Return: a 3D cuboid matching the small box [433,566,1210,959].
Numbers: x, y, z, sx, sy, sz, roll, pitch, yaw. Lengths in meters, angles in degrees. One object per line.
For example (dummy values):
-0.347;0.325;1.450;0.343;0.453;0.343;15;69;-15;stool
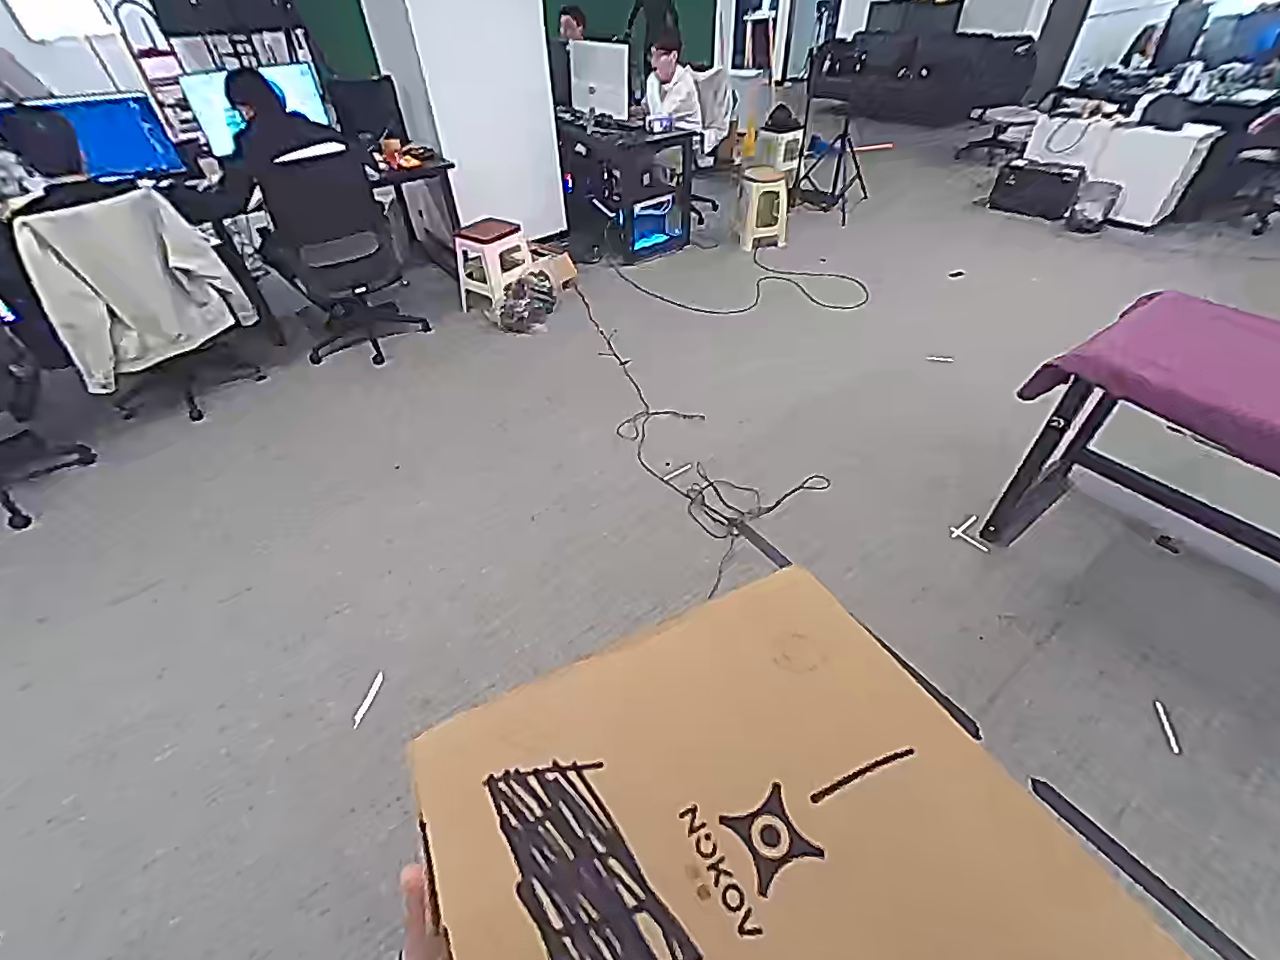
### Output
0.040;0.172;0.214;0.179;0.176;0.168;-19;42;-19;small box
